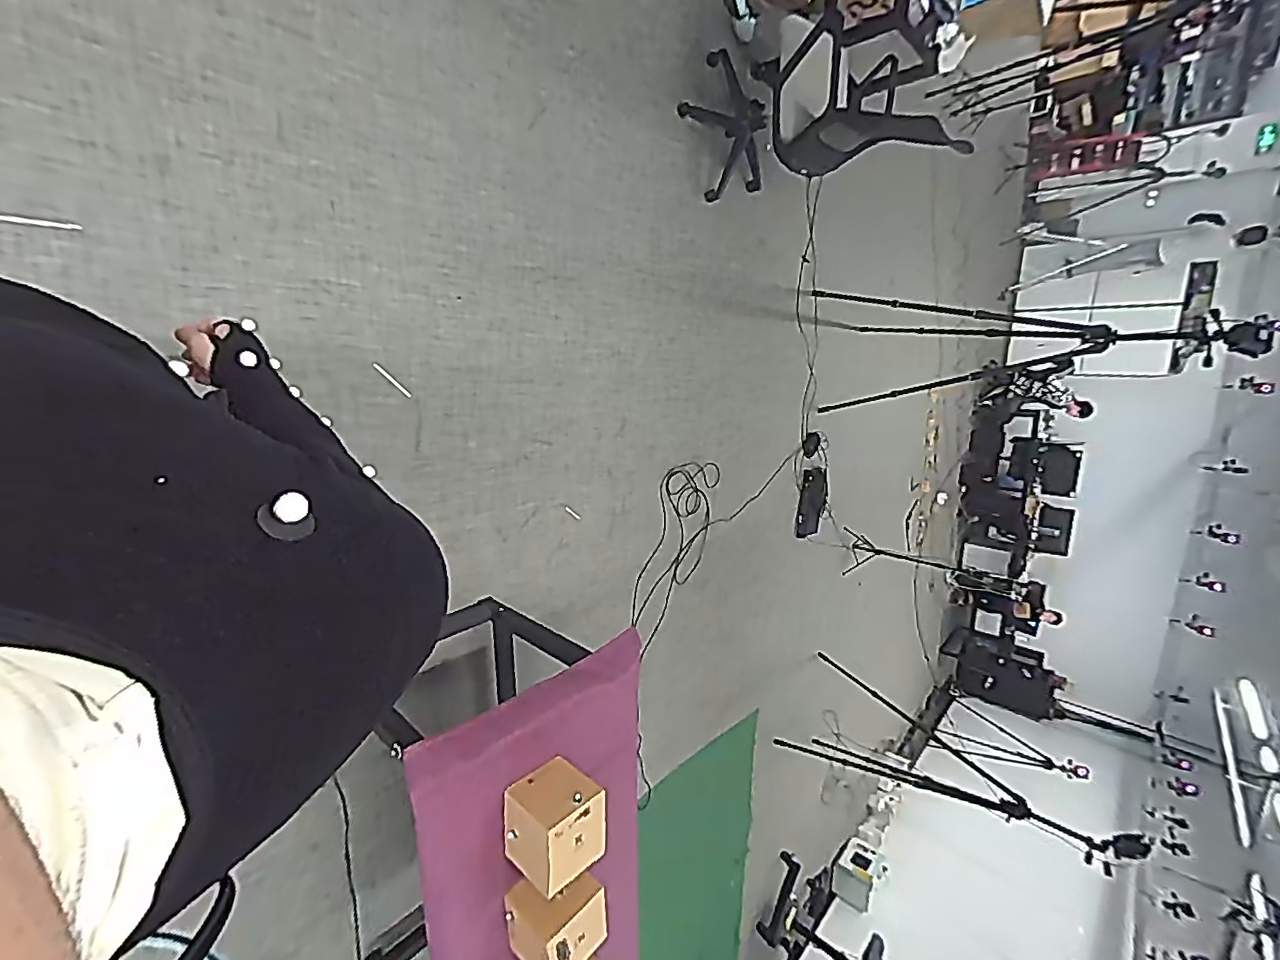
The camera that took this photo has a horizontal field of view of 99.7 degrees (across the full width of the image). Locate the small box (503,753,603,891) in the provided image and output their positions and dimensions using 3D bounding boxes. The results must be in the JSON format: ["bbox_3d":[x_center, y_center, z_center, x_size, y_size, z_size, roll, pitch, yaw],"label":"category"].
[{"bbox_3d":[-0.205,0.786,1.263,0.168,0.176,0.179,-11,107,-47],"label":"small box"}]

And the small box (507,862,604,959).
[{"bbox_3d":[-0.209,1.047,1.319,0.179,0.176,0.168,-18,112,-46],"label":"small box"}]
